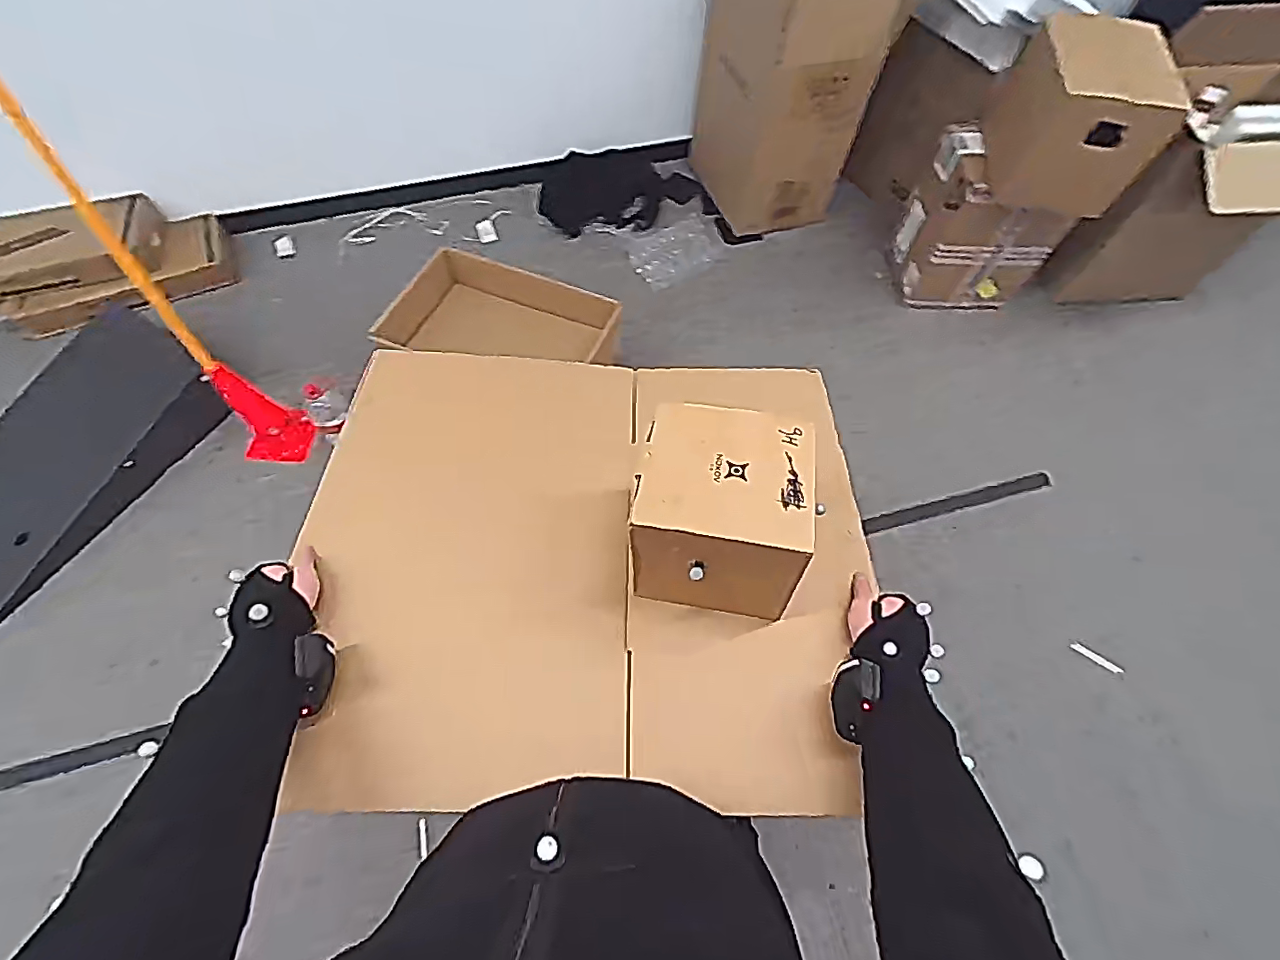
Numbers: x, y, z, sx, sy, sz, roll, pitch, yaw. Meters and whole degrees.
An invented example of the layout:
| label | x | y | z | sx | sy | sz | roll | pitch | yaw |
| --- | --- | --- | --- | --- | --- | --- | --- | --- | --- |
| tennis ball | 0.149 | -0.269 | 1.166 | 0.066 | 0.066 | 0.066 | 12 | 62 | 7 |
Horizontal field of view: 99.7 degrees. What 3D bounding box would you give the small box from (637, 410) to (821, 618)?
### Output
| label | x | y | z | sx | sy | sz | roll | pitch | yaw |
| --- | --- | --- | --- | --- | --- | --- | --- | --- | --- |
| small box | 0.100 | 0.043 | 0.623 | 0.179 | 0.176 | 0.168 | 9 | 56 | 8 |
